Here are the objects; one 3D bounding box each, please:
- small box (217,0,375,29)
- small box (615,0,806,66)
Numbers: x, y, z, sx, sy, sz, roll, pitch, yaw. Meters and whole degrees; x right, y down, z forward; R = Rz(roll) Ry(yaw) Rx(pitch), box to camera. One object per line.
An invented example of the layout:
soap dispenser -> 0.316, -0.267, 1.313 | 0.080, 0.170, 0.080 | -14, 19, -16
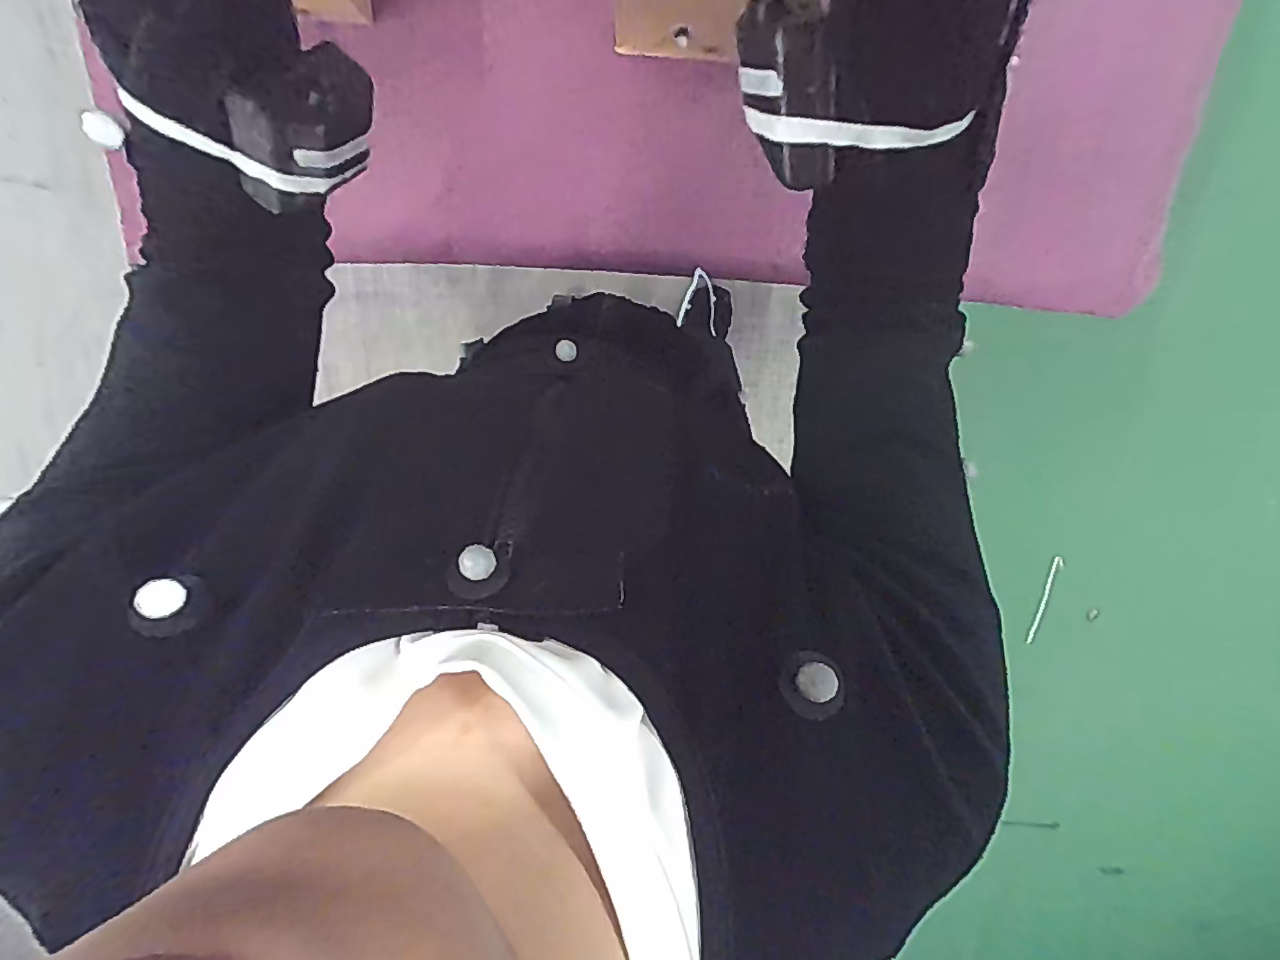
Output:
small box -> -0.350, -0.536, 0.463 | 0.168, 0.176, 0.179 | 3, 110, -2
small box -> 0.064, -0.512, 0.484 | 0.168, 0.176, 0.179 | 3, 110, -2
